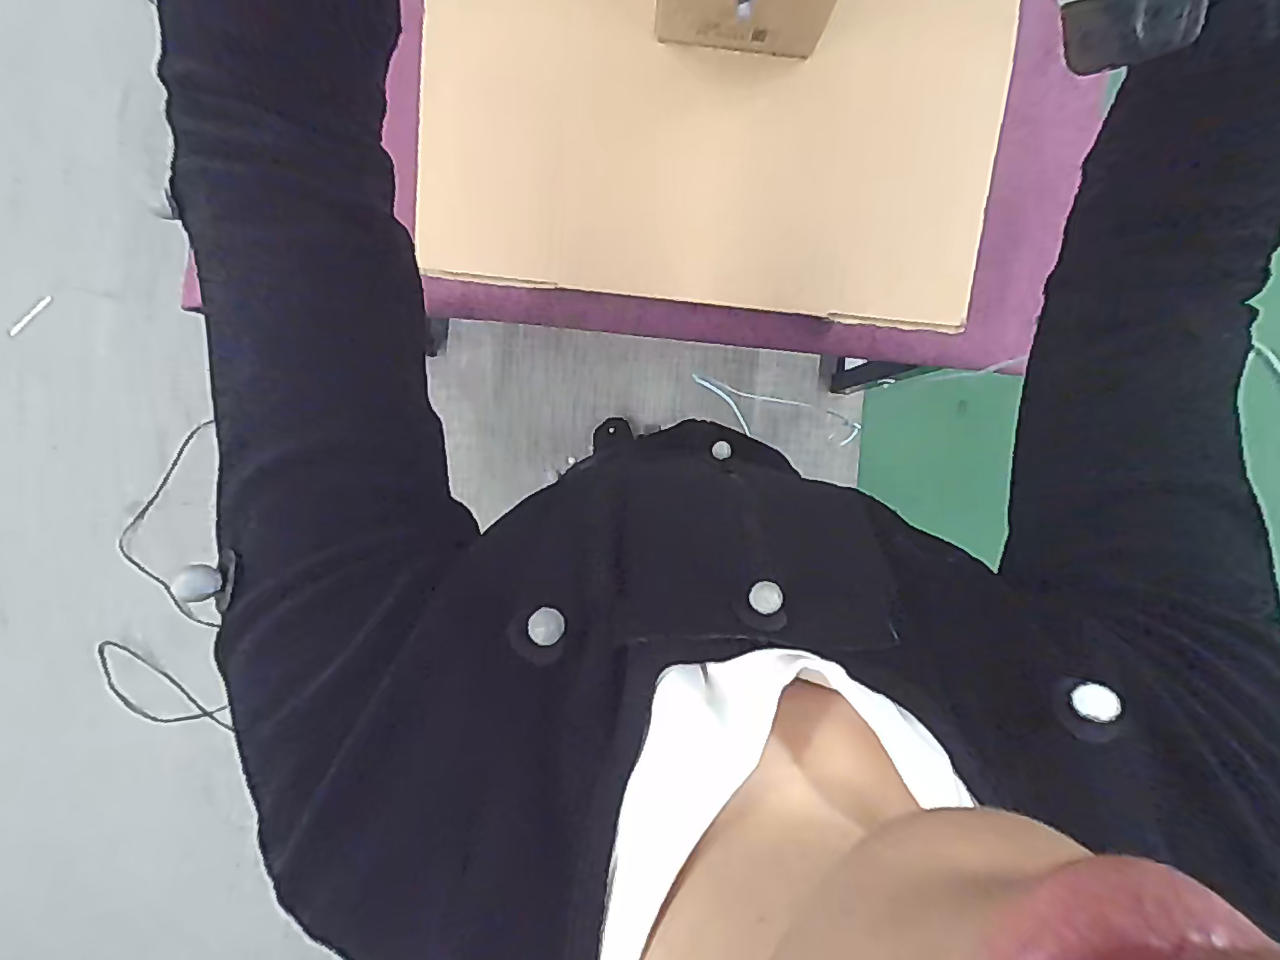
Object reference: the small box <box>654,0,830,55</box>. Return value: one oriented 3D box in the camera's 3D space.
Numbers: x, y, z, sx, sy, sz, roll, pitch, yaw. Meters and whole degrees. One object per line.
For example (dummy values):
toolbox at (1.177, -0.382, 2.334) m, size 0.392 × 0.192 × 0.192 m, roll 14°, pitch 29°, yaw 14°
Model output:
small box at (0.103, -0.529, 0.472) m, size 0.168 × 0.176 × 0.179 m, roll 5°, pitch 91°, yaw -1°
